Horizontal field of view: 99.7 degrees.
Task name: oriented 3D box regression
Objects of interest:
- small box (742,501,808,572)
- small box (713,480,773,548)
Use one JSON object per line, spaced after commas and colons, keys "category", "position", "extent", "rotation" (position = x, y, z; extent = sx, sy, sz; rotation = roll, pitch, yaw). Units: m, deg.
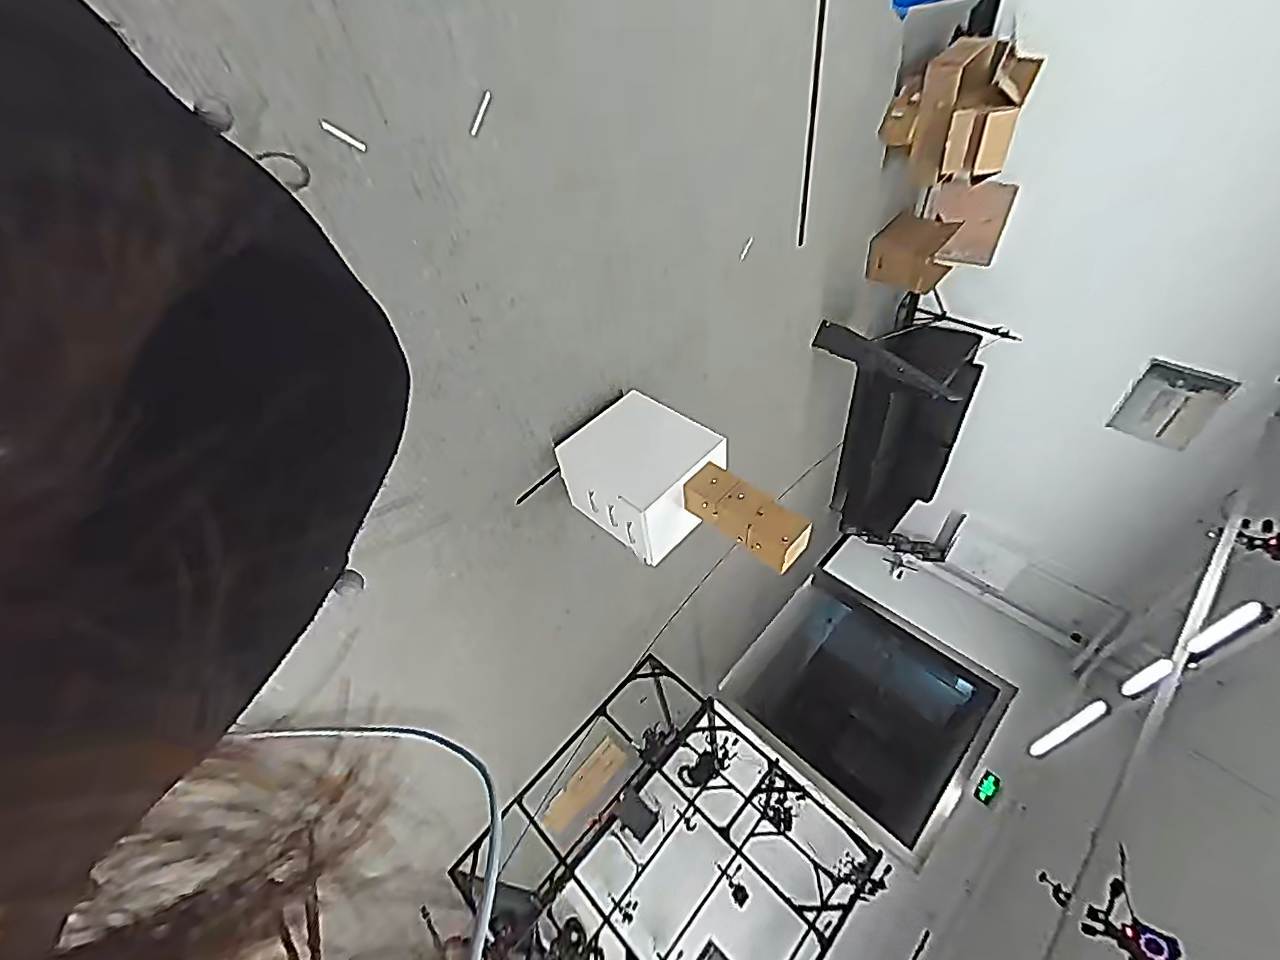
{"category": "small box", "position": [0.520, 0.214, 2.090], "extent": [0.179, 0.176, 0.168], "rotation": [-40, 146, -26]}
{"category": "small box", "position": [0.409, 0.133, 2.178], "extent": [0.168, 0.176, 0.179], "rotation": [-40, 146, -27]}
